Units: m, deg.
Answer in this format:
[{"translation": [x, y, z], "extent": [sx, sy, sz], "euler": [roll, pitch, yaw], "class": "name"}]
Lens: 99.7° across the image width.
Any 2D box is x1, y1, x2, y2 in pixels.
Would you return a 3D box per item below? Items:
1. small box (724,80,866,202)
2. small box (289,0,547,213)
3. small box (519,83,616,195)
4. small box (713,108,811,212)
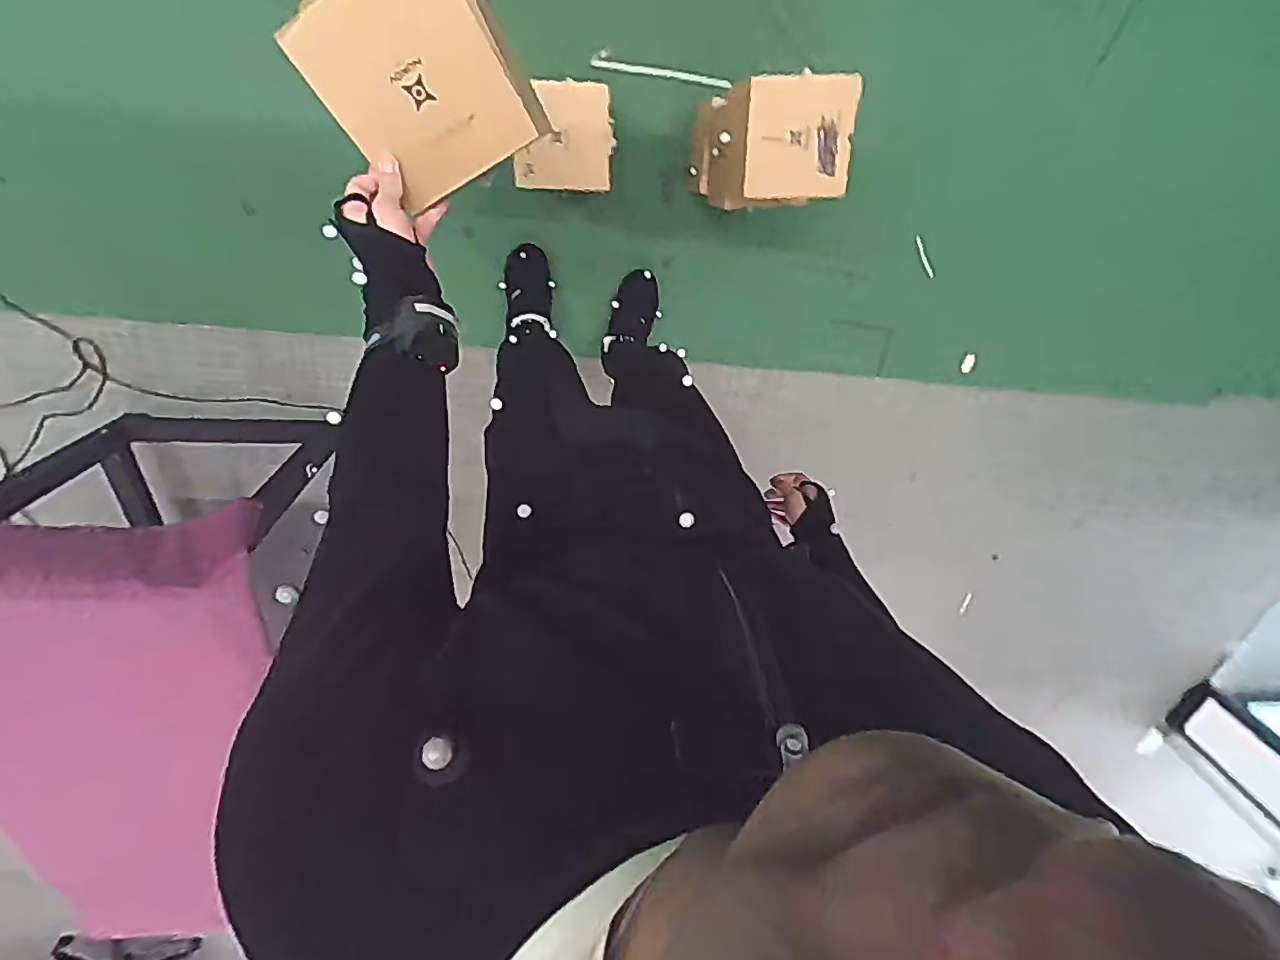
[{"translation": [0.252, -0.574, 0.924], "extent": [0.179, 0.176, 0.168], "euler": [-2, 120, -3], "class": "small box"}, {"translation": [-0.217, -0.423, 0.586], "extent": [0.168, 0.176, 0.179], "euler": [-22, 123, 13], "class": "small box"}, {"translation": [-0.139, -0.648, 1.040], "extent": [0.179, 0.176, 0.168], "euler": [0, 119, -5], "class": "small box"}, {"translation": [0.241, -0.641, 1.075], "extent": [0.168, 0.176, 0.179], "euler": [-5, 121, -2], "class": "small box"}]
